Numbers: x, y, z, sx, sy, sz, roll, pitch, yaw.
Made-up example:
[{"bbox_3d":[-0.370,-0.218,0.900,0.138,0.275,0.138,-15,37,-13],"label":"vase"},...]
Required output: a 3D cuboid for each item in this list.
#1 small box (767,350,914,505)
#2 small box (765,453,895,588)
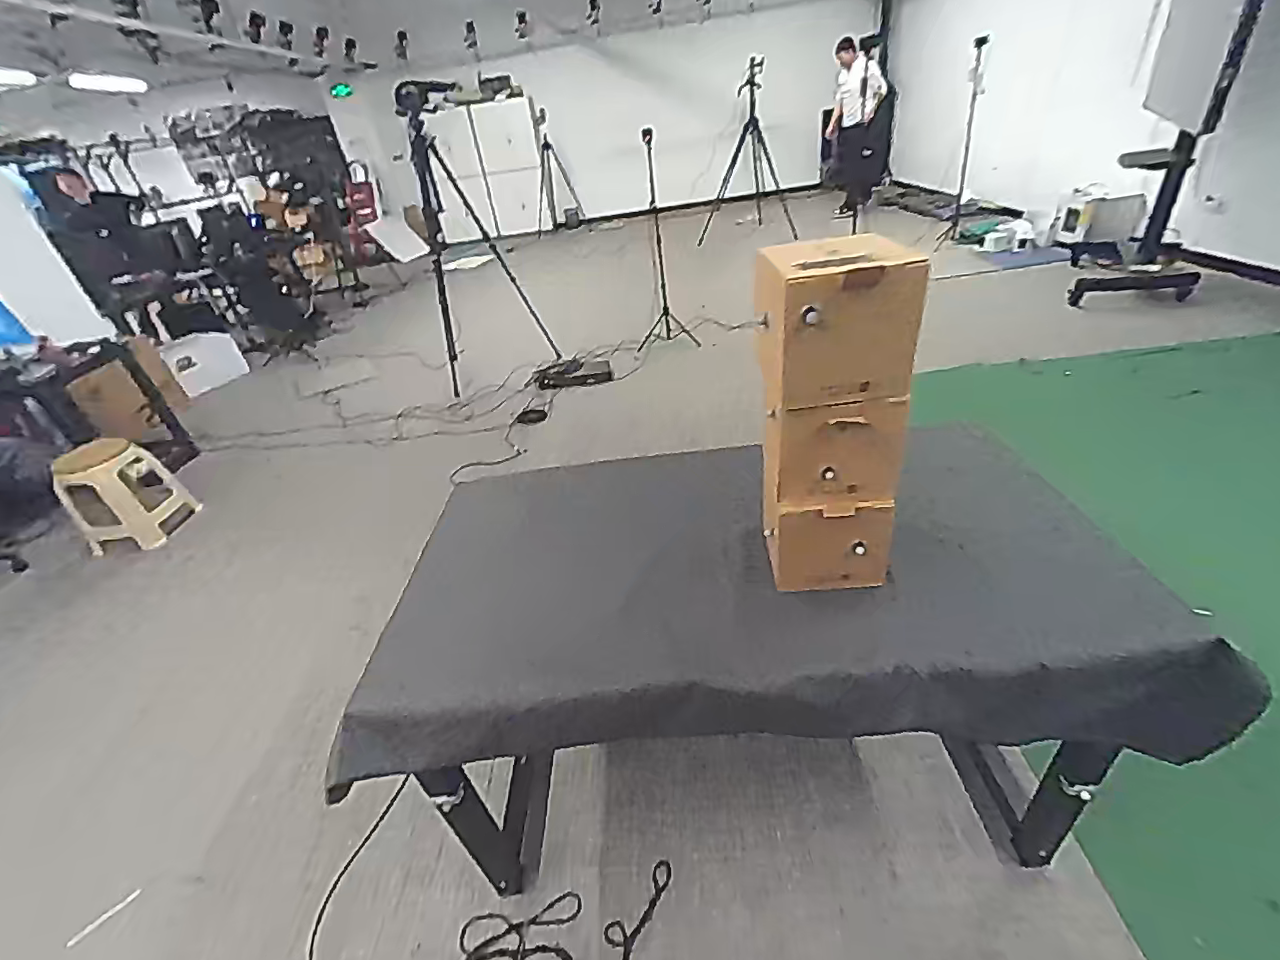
[{"bbox_3d":[0.284,-0.080,0.812,0.168,0.176,0.179,-3,35,7],"label":"small box"},{"bbox_3d":[0.300,0.063,0.888,0.168,0.176,0.179,-4,33,6],"label":"small box"}]
